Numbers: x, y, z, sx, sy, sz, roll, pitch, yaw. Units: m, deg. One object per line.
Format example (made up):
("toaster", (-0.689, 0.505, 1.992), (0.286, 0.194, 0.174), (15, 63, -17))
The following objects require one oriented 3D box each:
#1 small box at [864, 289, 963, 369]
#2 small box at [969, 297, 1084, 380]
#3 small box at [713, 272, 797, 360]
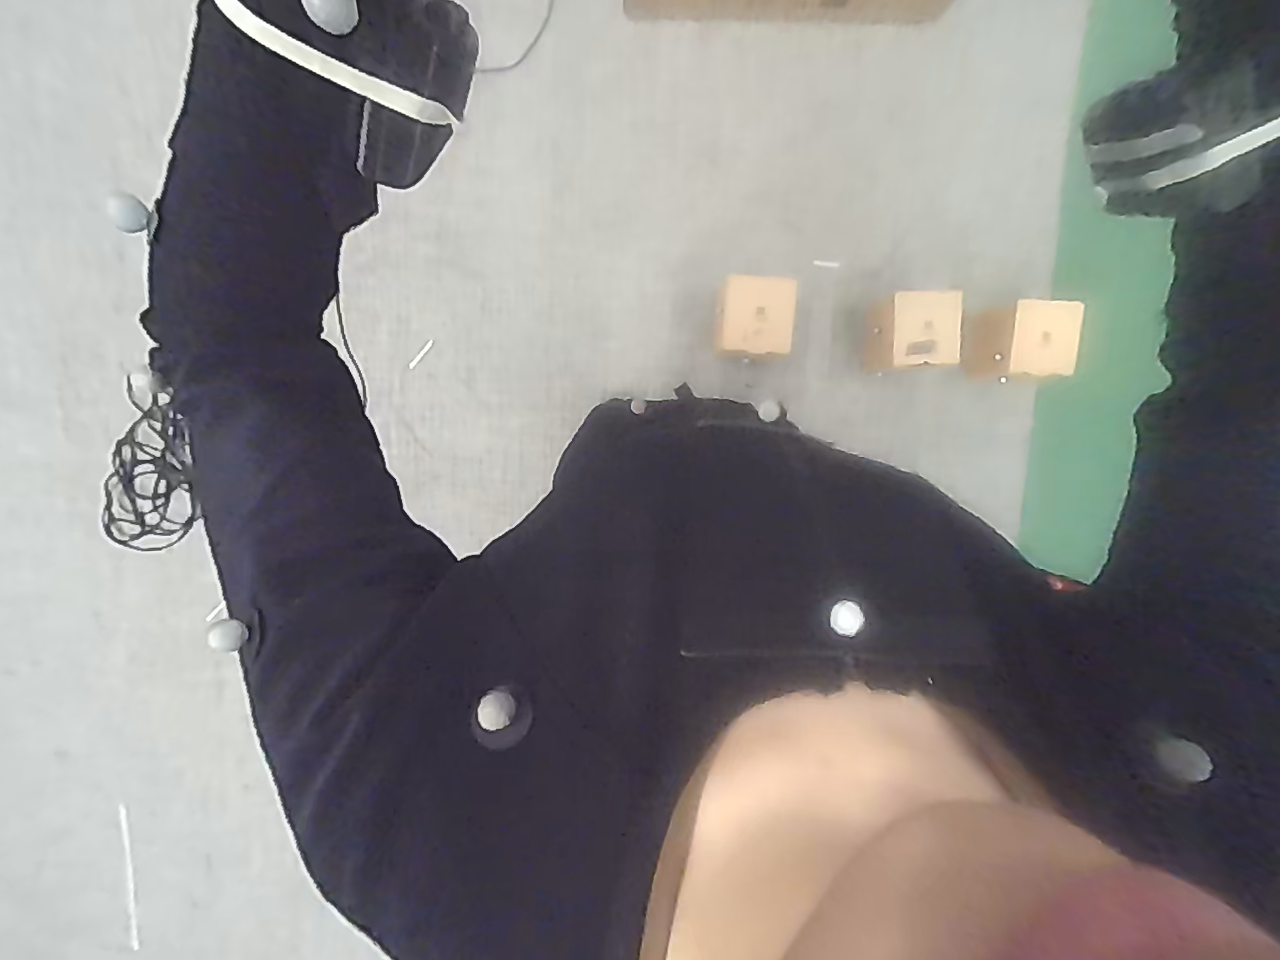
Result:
("small box", (0.680, -0.373, 1.363), (0.168, 0.176, 0.179), (-2, 96, -2))
("small box", (0.972, -0.353, 1.374), (0.168, 0.176, 0.179), (2, 97, -1))
("small box", (0.279, -0.401, 1.346), (0.168, 0.176, 0.179), (4, 97, -1))
